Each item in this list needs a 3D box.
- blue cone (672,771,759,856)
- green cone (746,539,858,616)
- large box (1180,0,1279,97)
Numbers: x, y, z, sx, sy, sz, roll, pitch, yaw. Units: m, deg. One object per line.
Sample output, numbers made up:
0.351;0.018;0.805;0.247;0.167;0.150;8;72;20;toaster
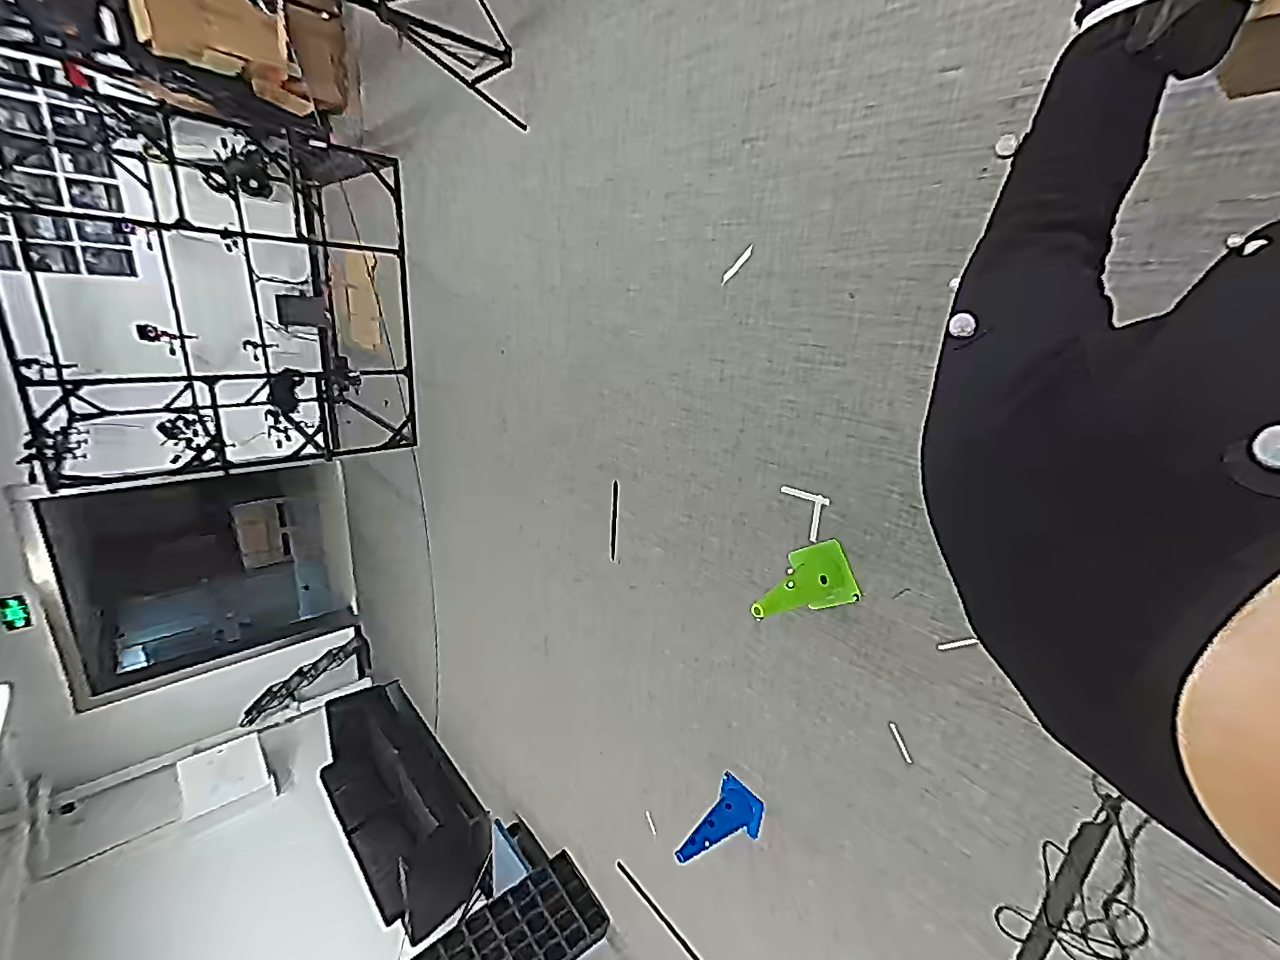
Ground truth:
0.278;1.339;2.097;0.192;0.380;0.193;28;119;43;blue cone
0.450;0.327;1.619;0.202;0.368;0.200;-32;74;50;green cone
0.602;-0.447;0.271;0.408;0.320;0.320;20;121;45;large box
